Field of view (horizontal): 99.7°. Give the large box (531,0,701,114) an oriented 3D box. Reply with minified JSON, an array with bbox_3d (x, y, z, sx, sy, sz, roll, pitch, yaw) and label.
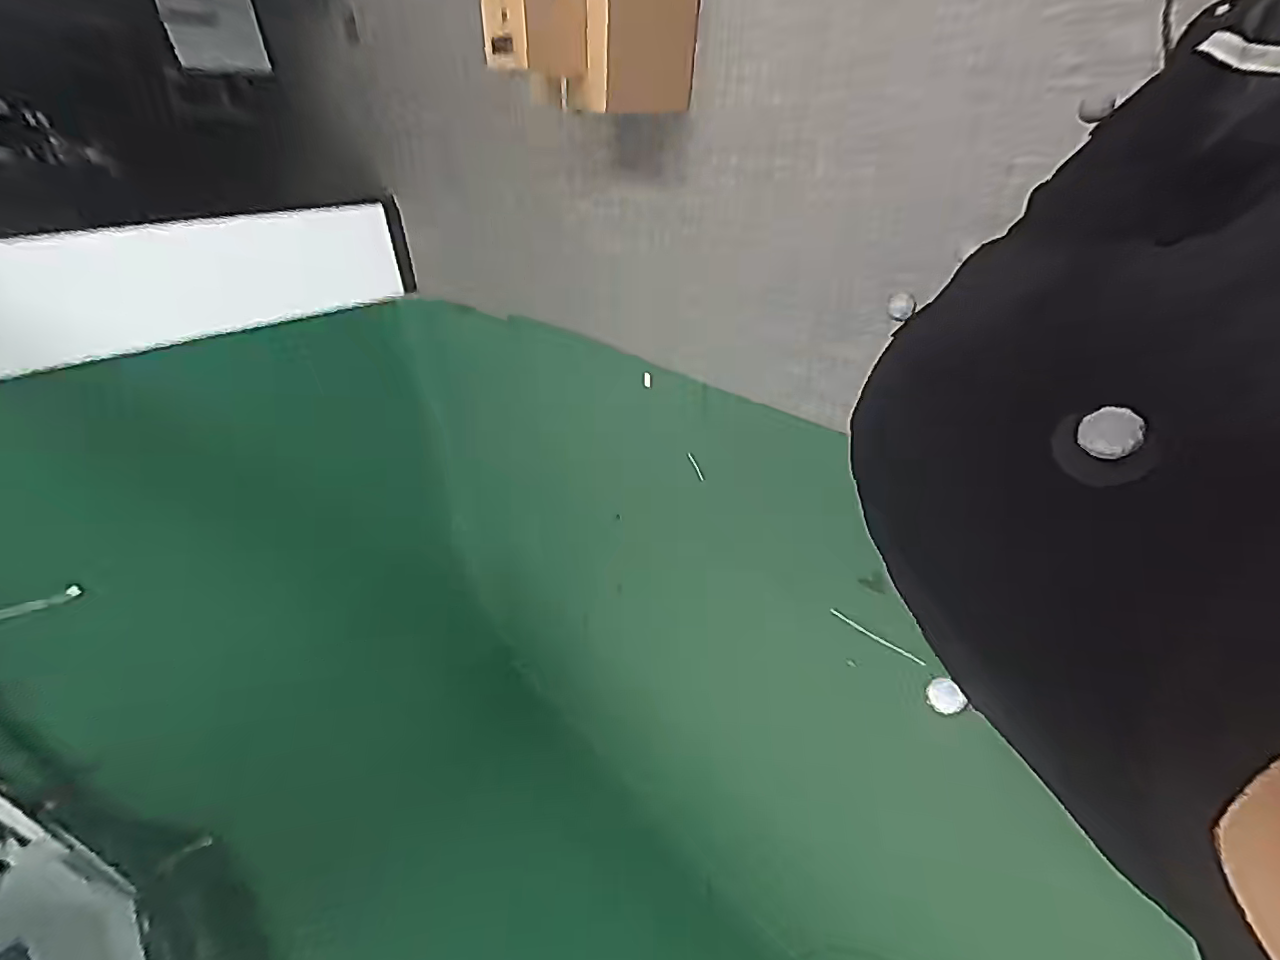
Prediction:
[{"bbox_3d":[-0.060,-1.169,1.352,0.320,0.320,0.408,32,134,32],"label":"large box"}]
